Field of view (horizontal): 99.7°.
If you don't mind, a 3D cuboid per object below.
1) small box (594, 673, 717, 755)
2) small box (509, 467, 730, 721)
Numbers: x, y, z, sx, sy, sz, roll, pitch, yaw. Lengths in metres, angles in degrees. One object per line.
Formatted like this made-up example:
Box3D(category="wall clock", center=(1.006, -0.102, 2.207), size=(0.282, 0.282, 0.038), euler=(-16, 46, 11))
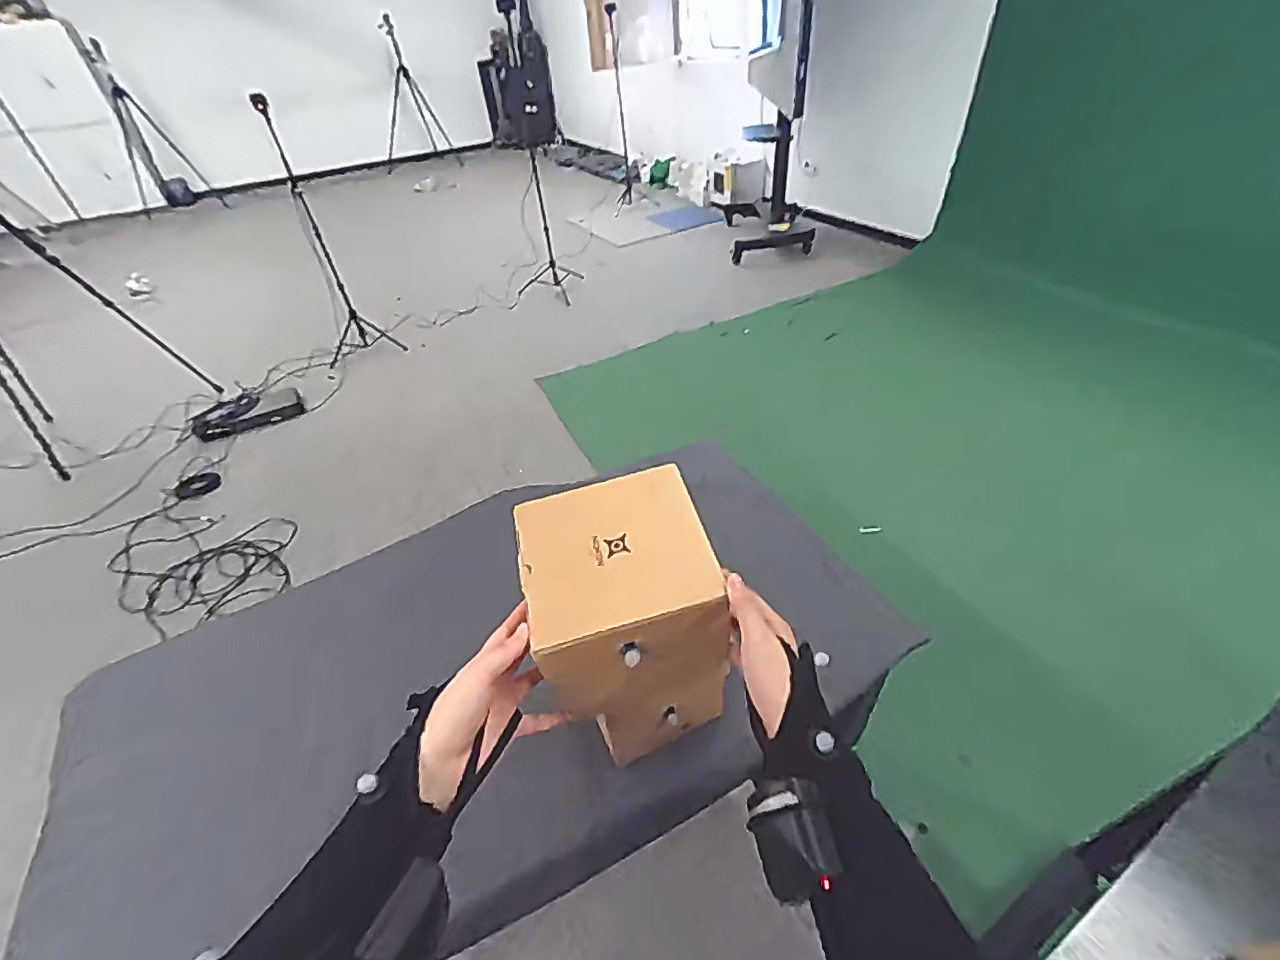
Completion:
Box3D(category="small box", center=(-0.002, 0.250, 0.752), size=(0.168, 0.176, 0.179), euler=(-21, 42, -16))
Box3D(category="small box", center=(-0.019, 0.118, 0.549), size=(0.179, 0.176, 0.168), euler=(-16, 48, -4))
